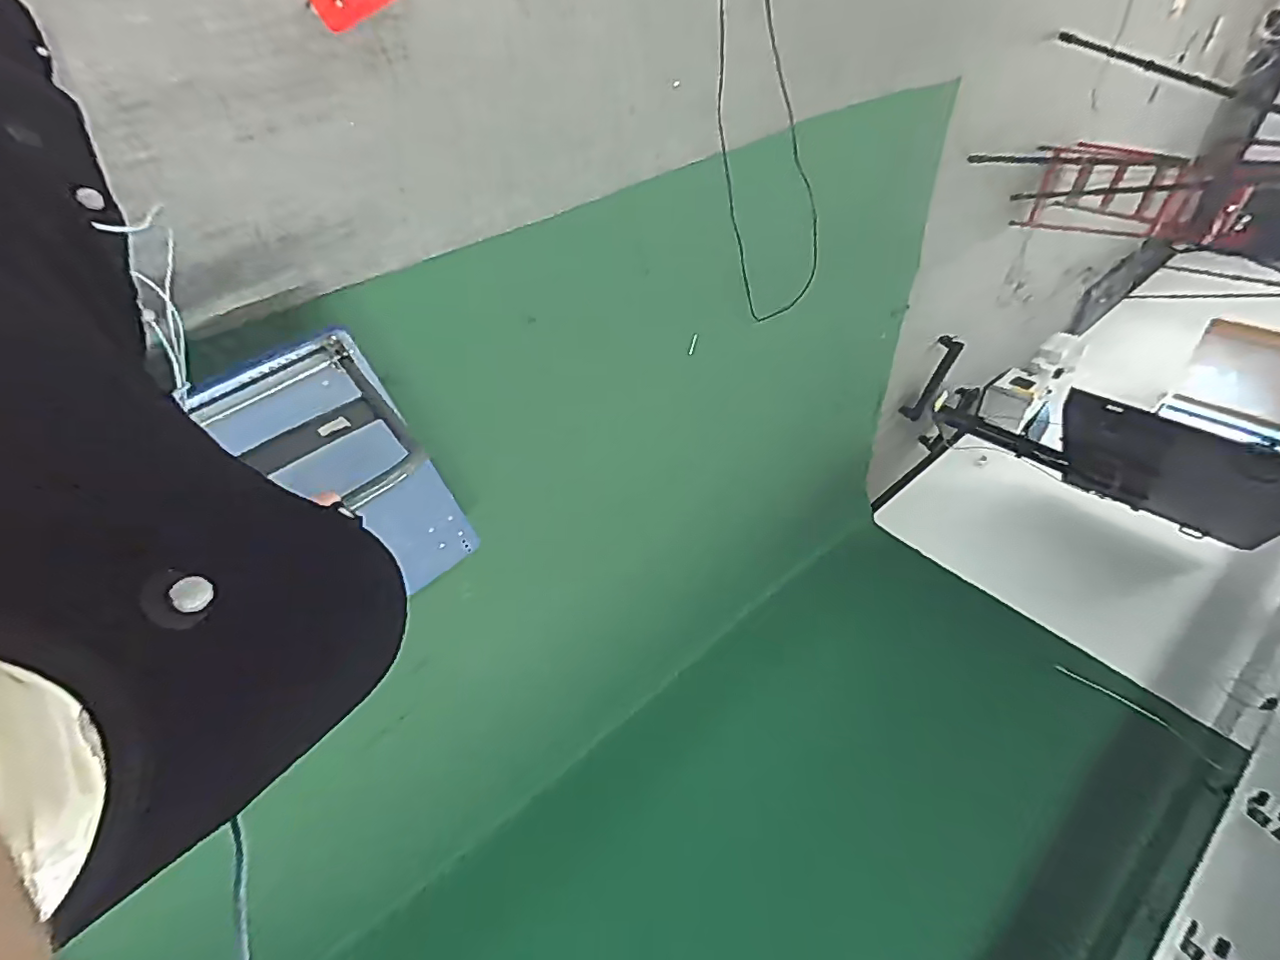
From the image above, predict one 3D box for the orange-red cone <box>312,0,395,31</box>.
[{"bbox_3d":[-0.506,-0.986,0.994,0.199,0.360,0.198,-43,141,-12],"label":"orange-red cone"}]
